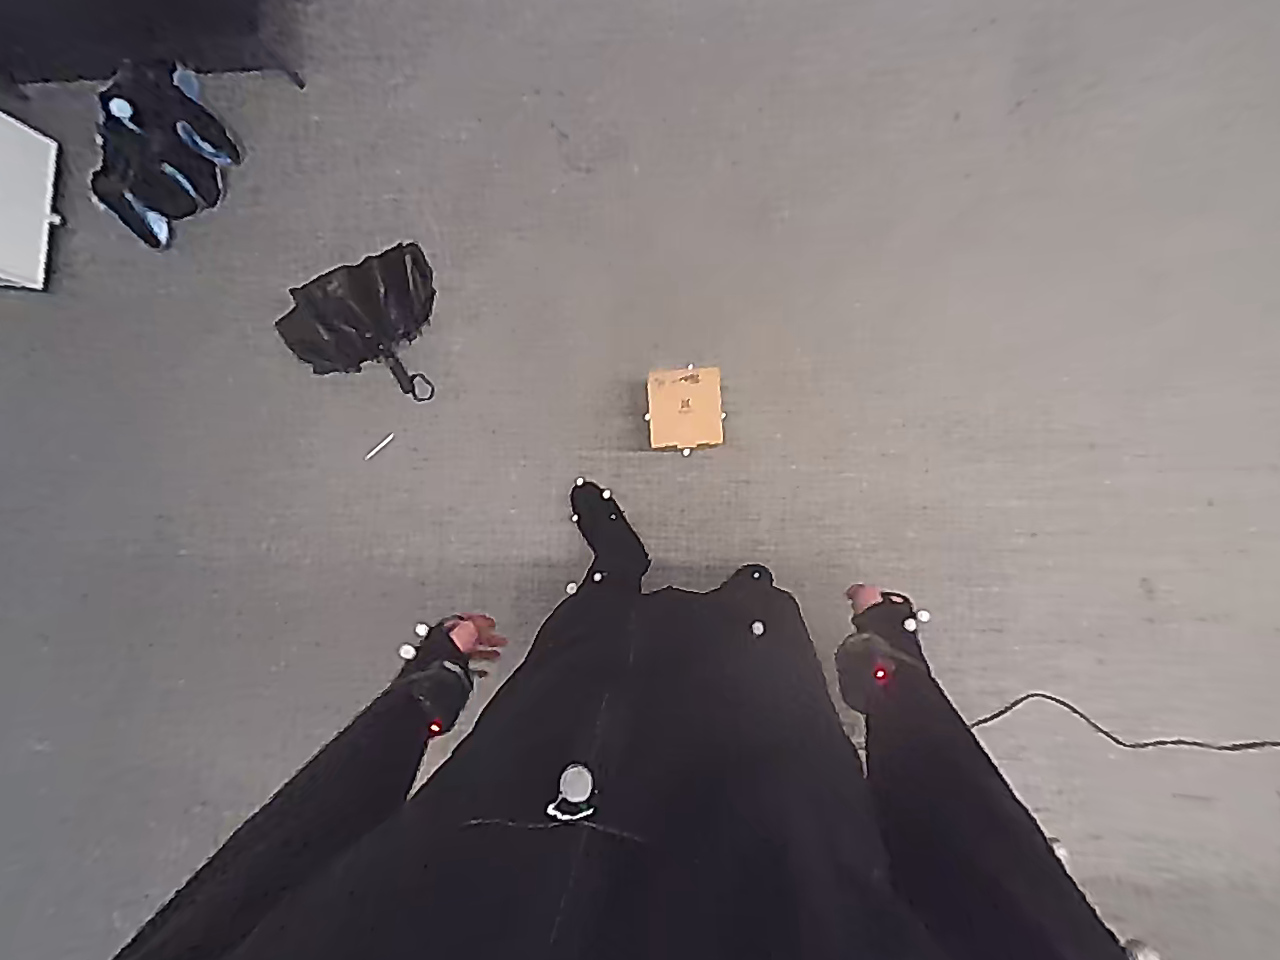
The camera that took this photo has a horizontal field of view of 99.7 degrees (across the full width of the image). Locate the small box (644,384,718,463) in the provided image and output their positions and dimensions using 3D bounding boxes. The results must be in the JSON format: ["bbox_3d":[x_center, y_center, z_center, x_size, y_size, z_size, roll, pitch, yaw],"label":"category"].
[{"bbox_3d":[0.101,-0.132,1.321,0.168,0.176,0.179,-3,90,4],"label":"small box"}]
